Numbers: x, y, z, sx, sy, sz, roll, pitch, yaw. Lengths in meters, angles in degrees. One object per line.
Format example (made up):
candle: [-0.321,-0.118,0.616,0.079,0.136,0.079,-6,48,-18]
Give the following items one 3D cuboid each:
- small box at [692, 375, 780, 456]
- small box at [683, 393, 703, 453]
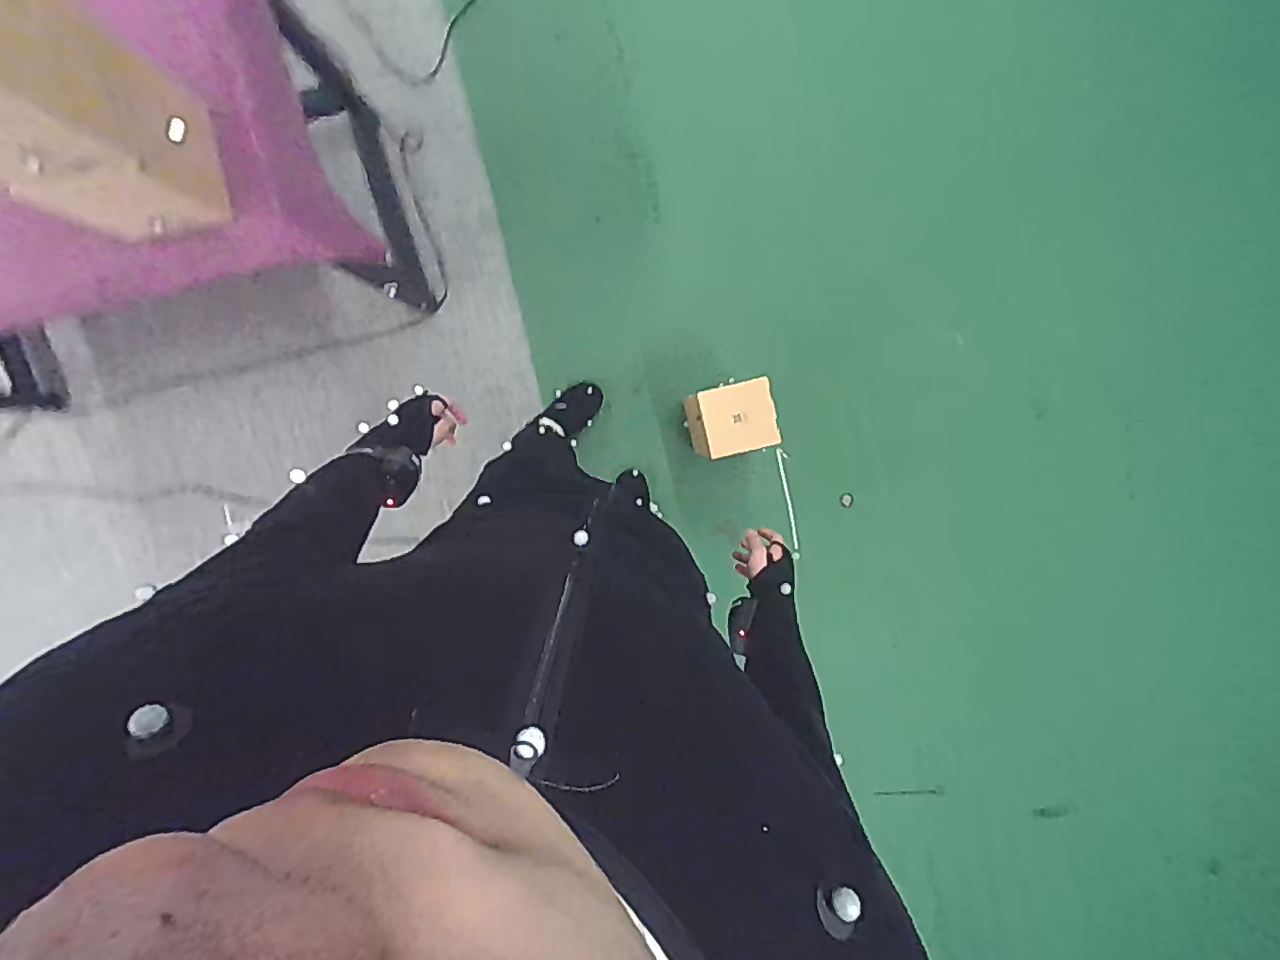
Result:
small box: [0.233,-0.158,1.369,0.179,0.176,0.168,-14,95,-1]
small box: [0.228,-0.177,1.530,0.179,0.176,0.168,-13,96,0]
